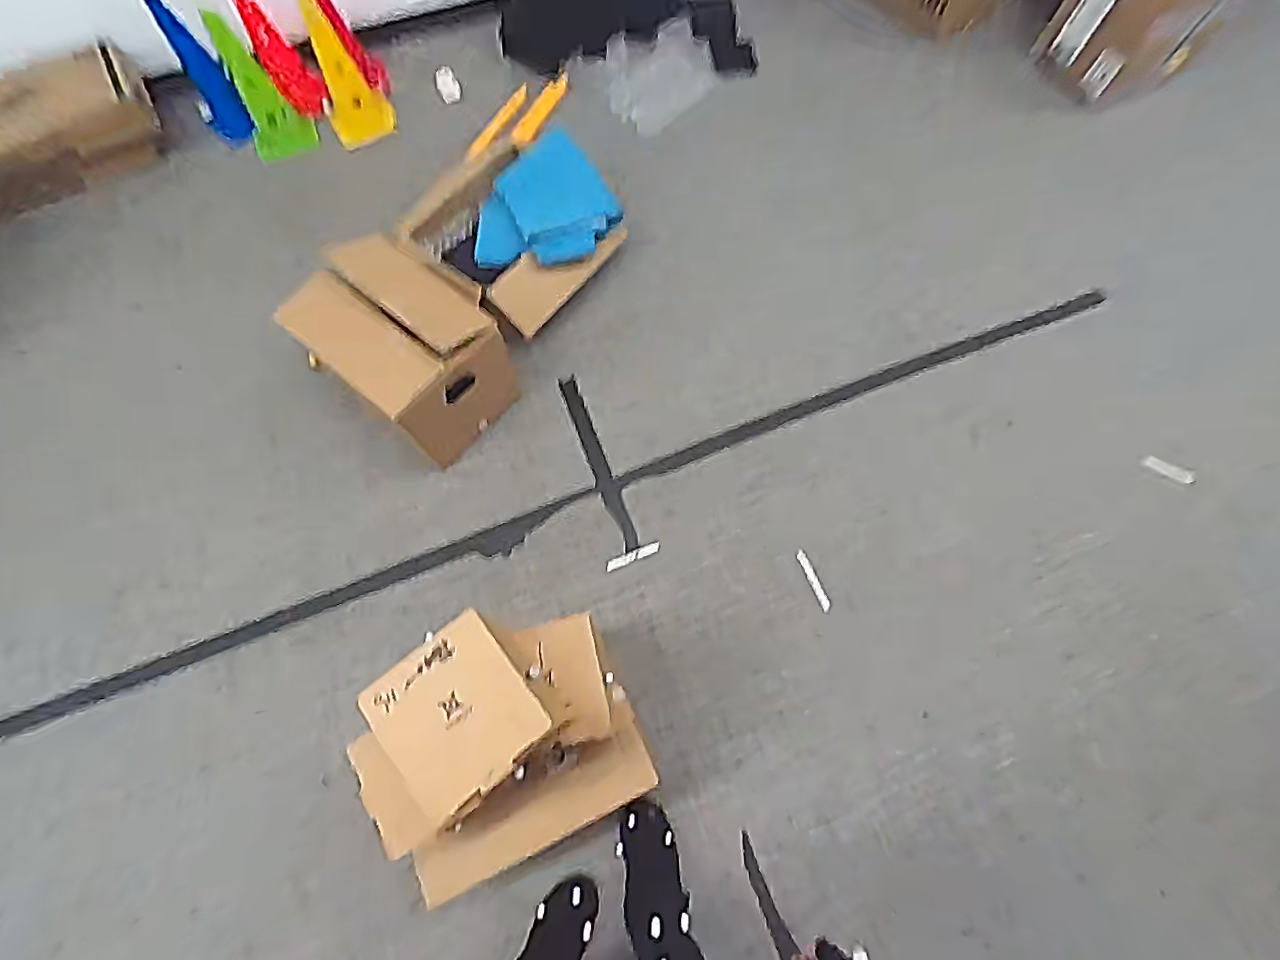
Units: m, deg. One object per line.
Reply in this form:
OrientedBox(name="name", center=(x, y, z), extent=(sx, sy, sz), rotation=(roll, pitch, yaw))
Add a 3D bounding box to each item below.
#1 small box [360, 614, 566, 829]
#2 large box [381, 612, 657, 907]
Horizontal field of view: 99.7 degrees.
OrientedBox(name="small box", center=(-0.213, 0.299, 0.703), extent=(0.168, 0.176, 0.179), rotation=(-38, 74, -14))
OrientedBox(name="large box", center=(-0.216, 0.510, 1.057), extent=(0.408, 0.320, 0.320), rotation=(-25, 72, -11))
